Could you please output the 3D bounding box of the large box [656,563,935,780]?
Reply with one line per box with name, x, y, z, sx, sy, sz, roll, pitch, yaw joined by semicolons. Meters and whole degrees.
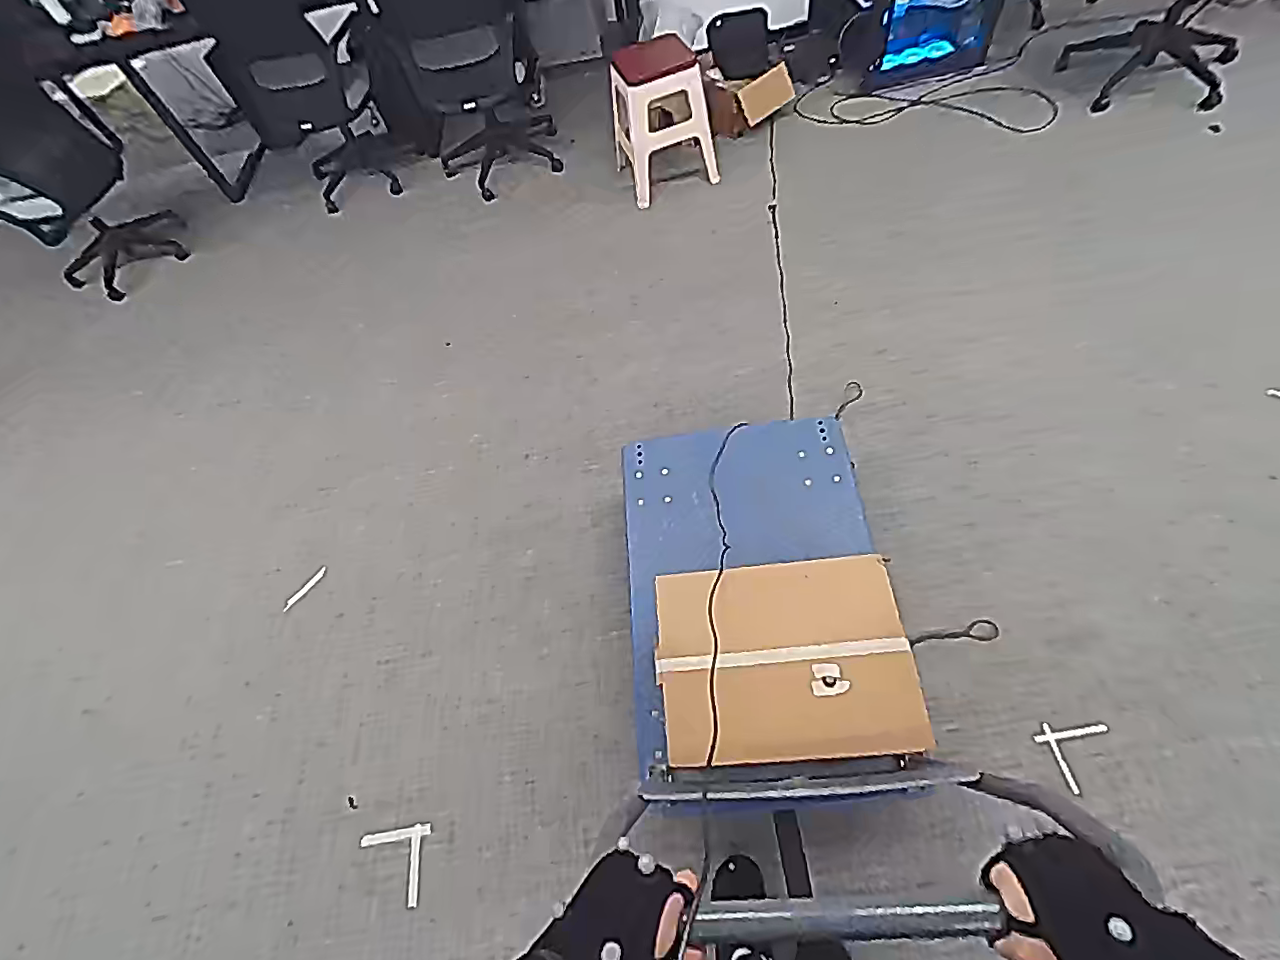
large box;0.254;0.369;1.018;0.408;0.320;0.320;-6;64;6
